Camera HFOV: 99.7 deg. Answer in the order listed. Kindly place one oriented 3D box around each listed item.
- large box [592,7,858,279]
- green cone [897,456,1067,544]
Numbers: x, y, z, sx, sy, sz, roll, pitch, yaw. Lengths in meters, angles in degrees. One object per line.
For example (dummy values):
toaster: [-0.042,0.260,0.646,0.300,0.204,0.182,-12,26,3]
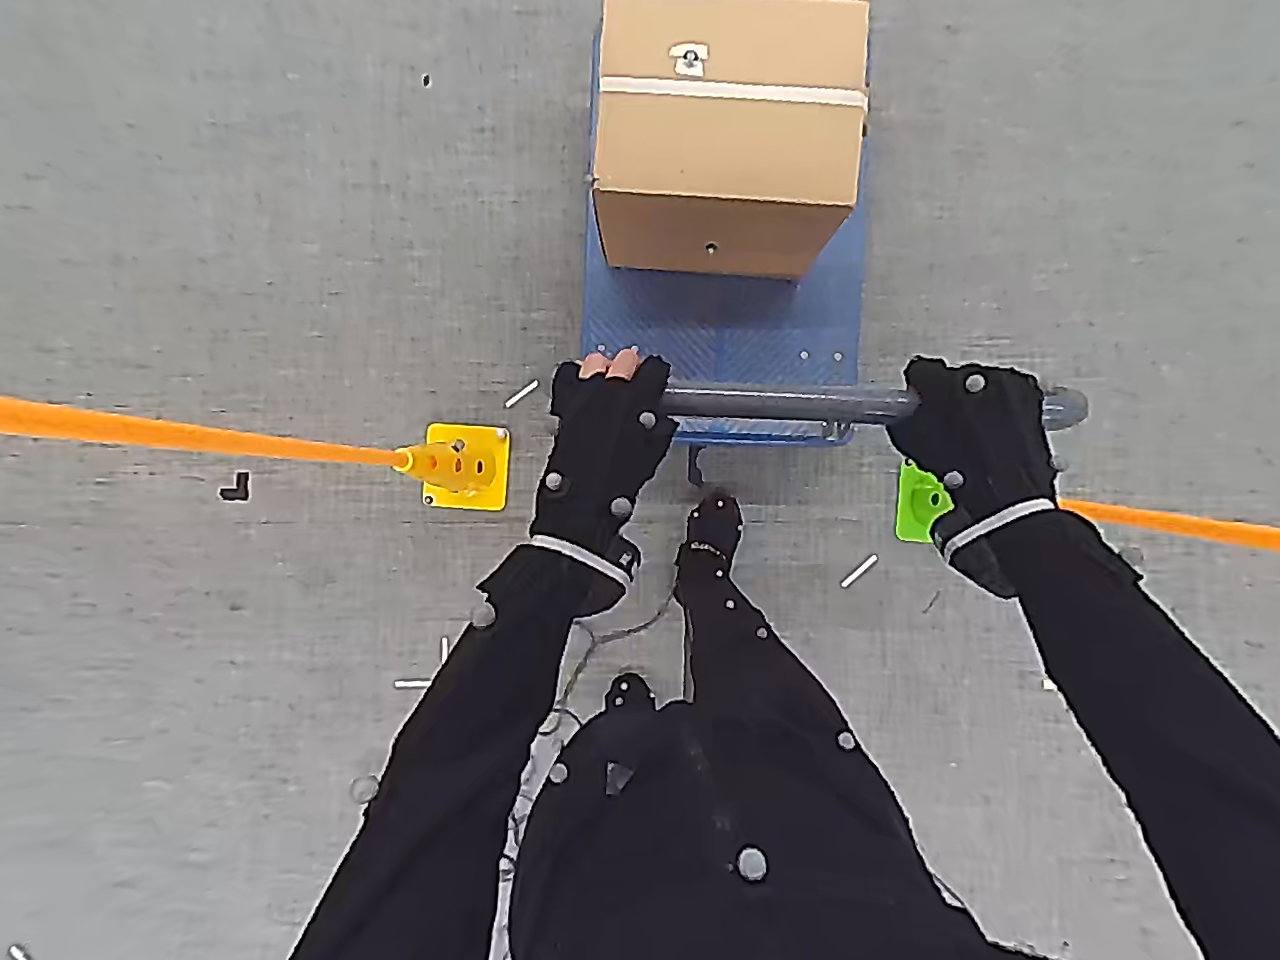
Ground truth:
large box: [0.136,-0.575,0.984,0.408,0.320,0.320,4,90,2]
green cone: [0.713,0.045,1.111,0.202,0.368,0.200,4,90,0]
